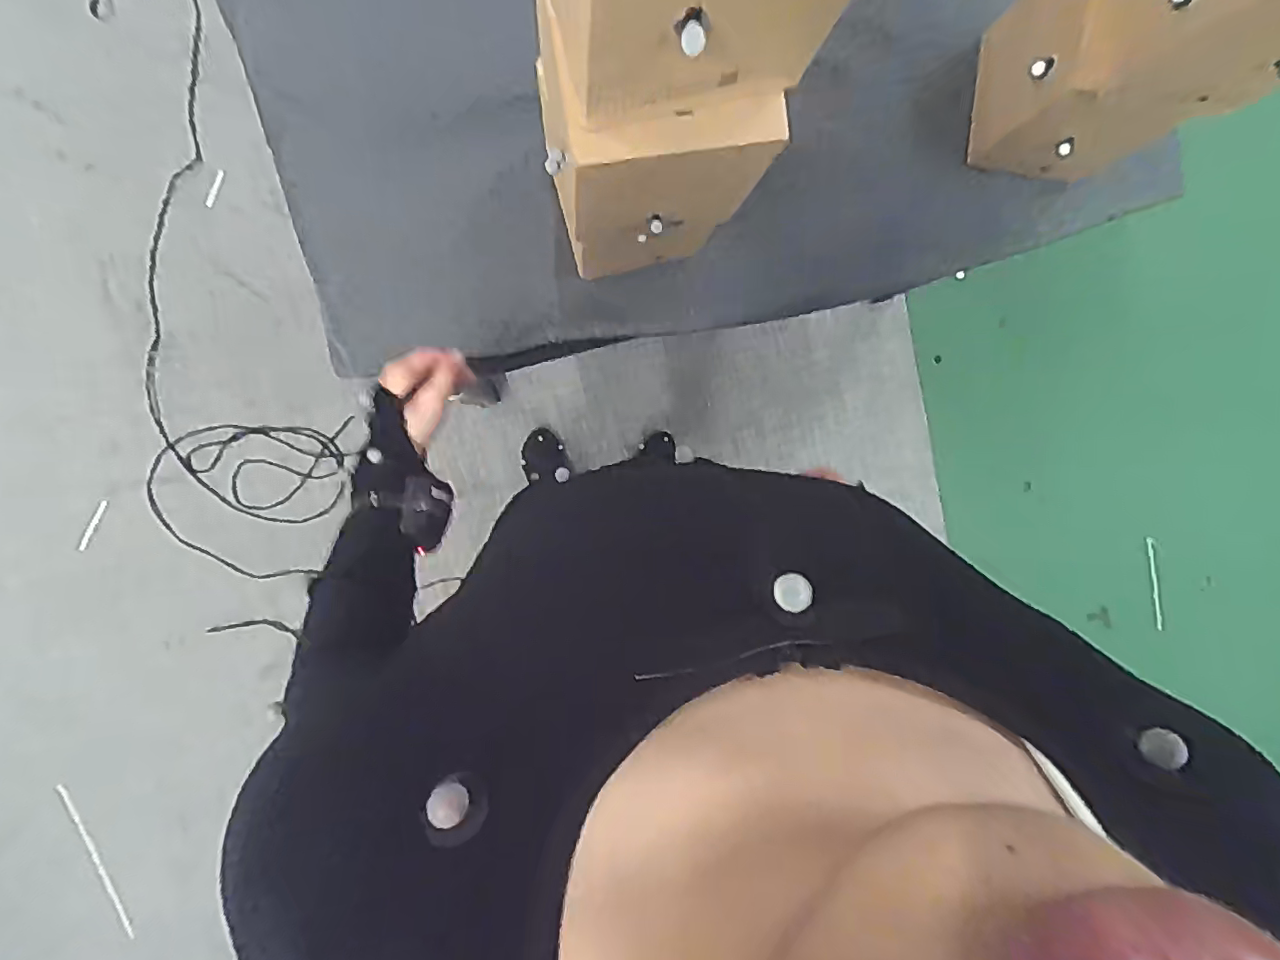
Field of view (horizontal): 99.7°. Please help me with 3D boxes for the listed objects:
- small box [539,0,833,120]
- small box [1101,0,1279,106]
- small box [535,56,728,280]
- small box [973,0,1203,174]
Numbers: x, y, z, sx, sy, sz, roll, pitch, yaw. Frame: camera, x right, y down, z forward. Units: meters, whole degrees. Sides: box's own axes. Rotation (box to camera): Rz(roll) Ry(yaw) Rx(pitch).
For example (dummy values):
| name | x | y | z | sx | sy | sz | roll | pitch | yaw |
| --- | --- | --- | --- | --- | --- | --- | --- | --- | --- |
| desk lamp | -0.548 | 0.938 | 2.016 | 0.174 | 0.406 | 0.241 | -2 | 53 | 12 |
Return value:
| name | x | y | z | sx | sy | sz | roll | pitch | yaw |
| --- | --- | --- | --- | --- | --- | --- | --- | --- | --- |
| small box | 0.019 | -0.337 | 0.301 | 0.168 | 0.176 | 0.179 | -16 | 97 | -4 |
| small box | 0.582 | -0.489 | 0.506 | 0.168 | 0.176 | 0.179 | 0 | 94 | -7 |
| small box | -0.016 | -0.357 | 0.626 | 0.168 | 0.176 | 0.179 | -16 | 96 | -4 |
| small box | 0.545 | -0.509 | 0.664 | 0.168 | 0.176 | 0.179 | 5 | 93 | -7 |
